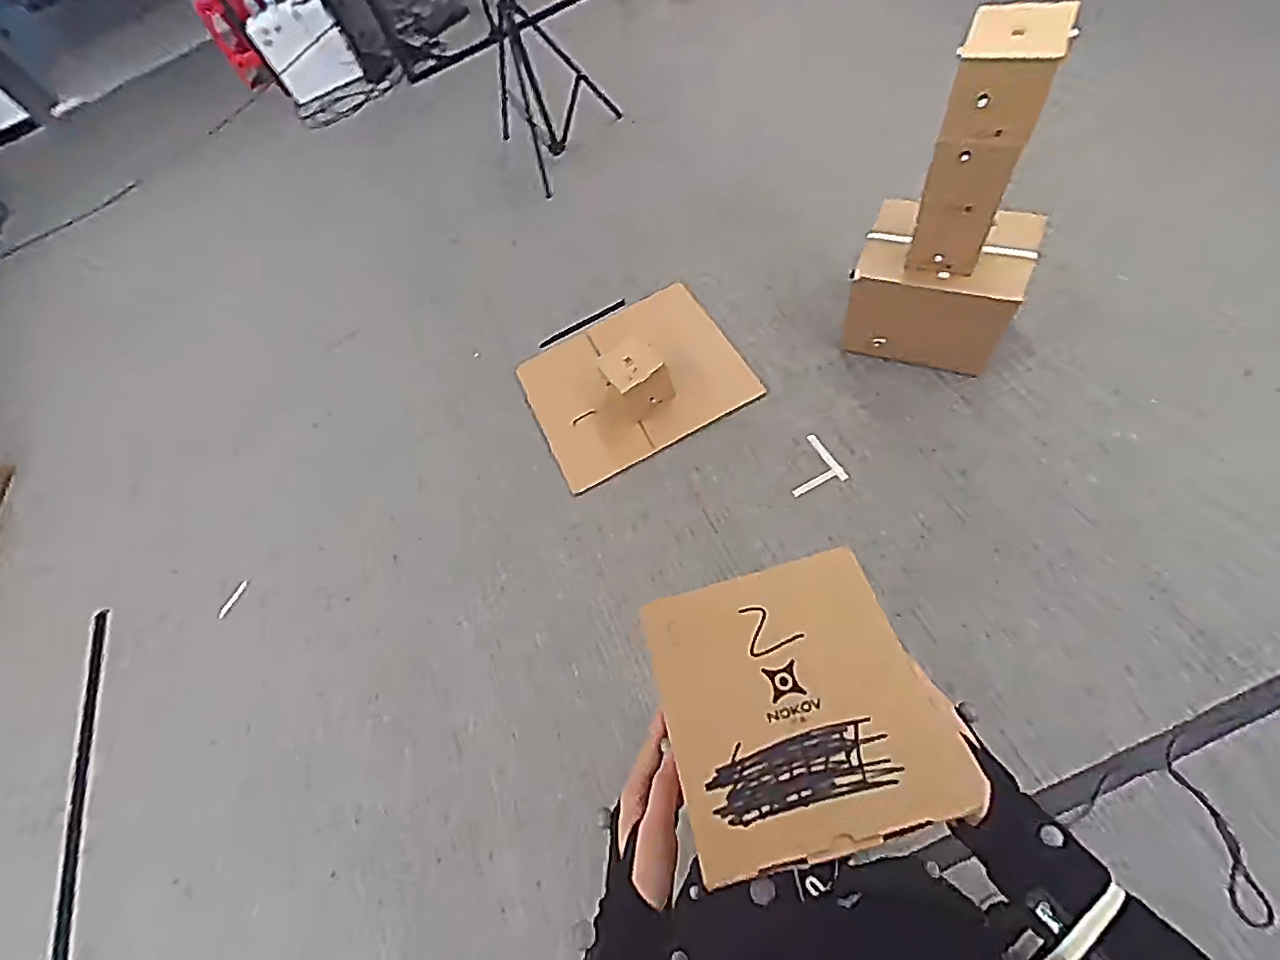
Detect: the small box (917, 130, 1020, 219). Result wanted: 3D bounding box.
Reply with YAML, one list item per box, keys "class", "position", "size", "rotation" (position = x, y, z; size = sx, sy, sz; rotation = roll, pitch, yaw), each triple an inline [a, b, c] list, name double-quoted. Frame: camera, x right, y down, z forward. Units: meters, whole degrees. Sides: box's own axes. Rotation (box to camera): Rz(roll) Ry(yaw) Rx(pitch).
- class: "small box"
  position: [0.743, -0.723, 1.214]
  size: [0.168, 0.176, 0.179]
  rotation: [18, 68, 22]

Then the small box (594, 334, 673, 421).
- class: "small box"
  position: [-0.017, -0.324, 1.736]
  size: [0.168, 0.176, 0.179]
  rotation: [-37, 61, -3]

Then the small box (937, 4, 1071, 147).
- class: "small box"
  position: [0.709, -0.792, 1.071]
  size: [0.168, 0.176, 0.179]
  rotation: [18, 69, 22]

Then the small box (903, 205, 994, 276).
- class: "small box"
  position: [0.778, -0.647, 1.355]
  size: [0.168, 0.176, 0.179]
  rotation: [18, 70, 22]
